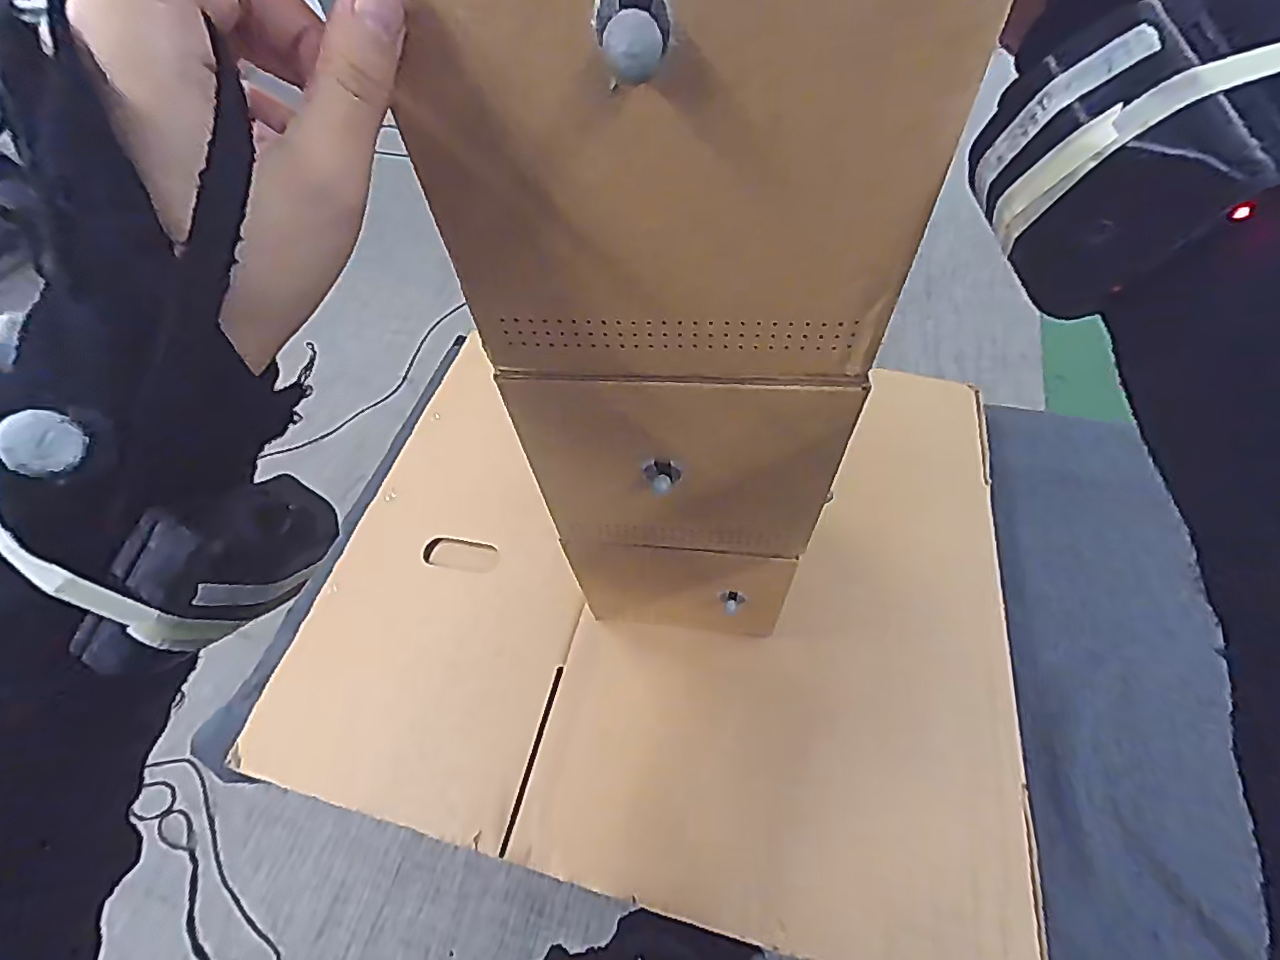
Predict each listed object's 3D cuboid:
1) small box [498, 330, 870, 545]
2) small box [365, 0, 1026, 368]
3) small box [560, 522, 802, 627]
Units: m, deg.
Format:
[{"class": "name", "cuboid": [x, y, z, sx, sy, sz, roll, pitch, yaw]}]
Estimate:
[{"class": "small box", "cuboid": [0.032, -0.068, 0.359, 0.179, 0.176, 0.168, 3, 56, 7]}, {"class": "small box", "cuboid": [0.022, -0.162, 0.227, 0.179, 0.176, 0.168, 2, 56, 7]}, {"class": "small box", "cuboid": [0.042, 0.026, 0.494, 0.179, 0.176, 0.168, 3, 56, 8]}]
